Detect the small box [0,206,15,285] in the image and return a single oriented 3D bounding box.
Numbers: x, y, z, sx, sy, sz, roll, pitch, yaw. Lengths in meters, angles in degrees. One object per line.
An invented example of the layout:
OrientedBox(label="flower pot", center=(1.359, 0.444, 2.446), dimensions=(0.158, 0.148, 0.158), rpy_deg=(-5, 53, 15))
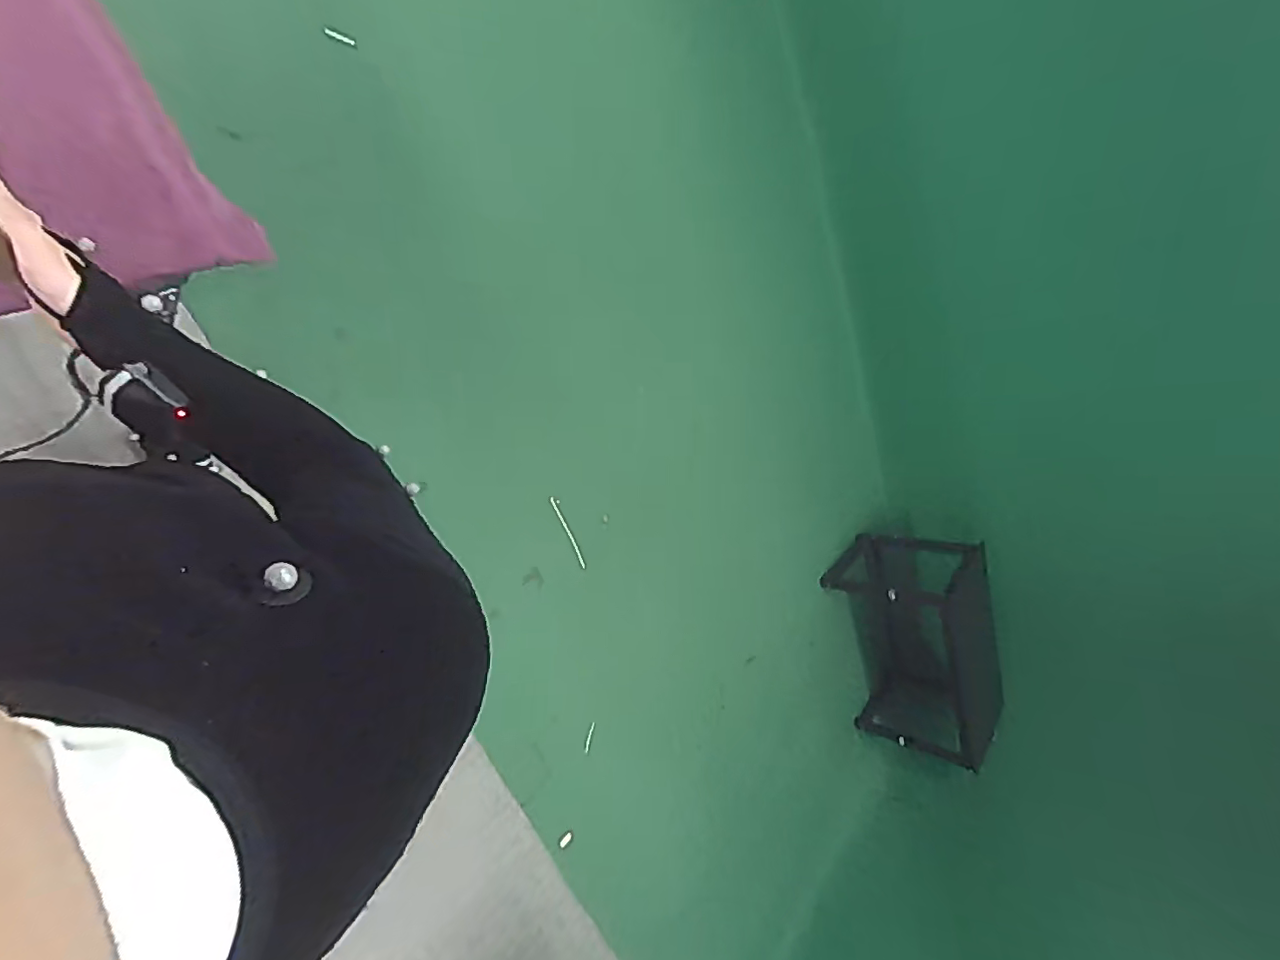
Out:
OrientedBox(label="small box", center=(-0.642, -0.267, 0.423), dimensions=(0.168, 0.176, 0.179), rpy_deg=(-14, 98, -42))
